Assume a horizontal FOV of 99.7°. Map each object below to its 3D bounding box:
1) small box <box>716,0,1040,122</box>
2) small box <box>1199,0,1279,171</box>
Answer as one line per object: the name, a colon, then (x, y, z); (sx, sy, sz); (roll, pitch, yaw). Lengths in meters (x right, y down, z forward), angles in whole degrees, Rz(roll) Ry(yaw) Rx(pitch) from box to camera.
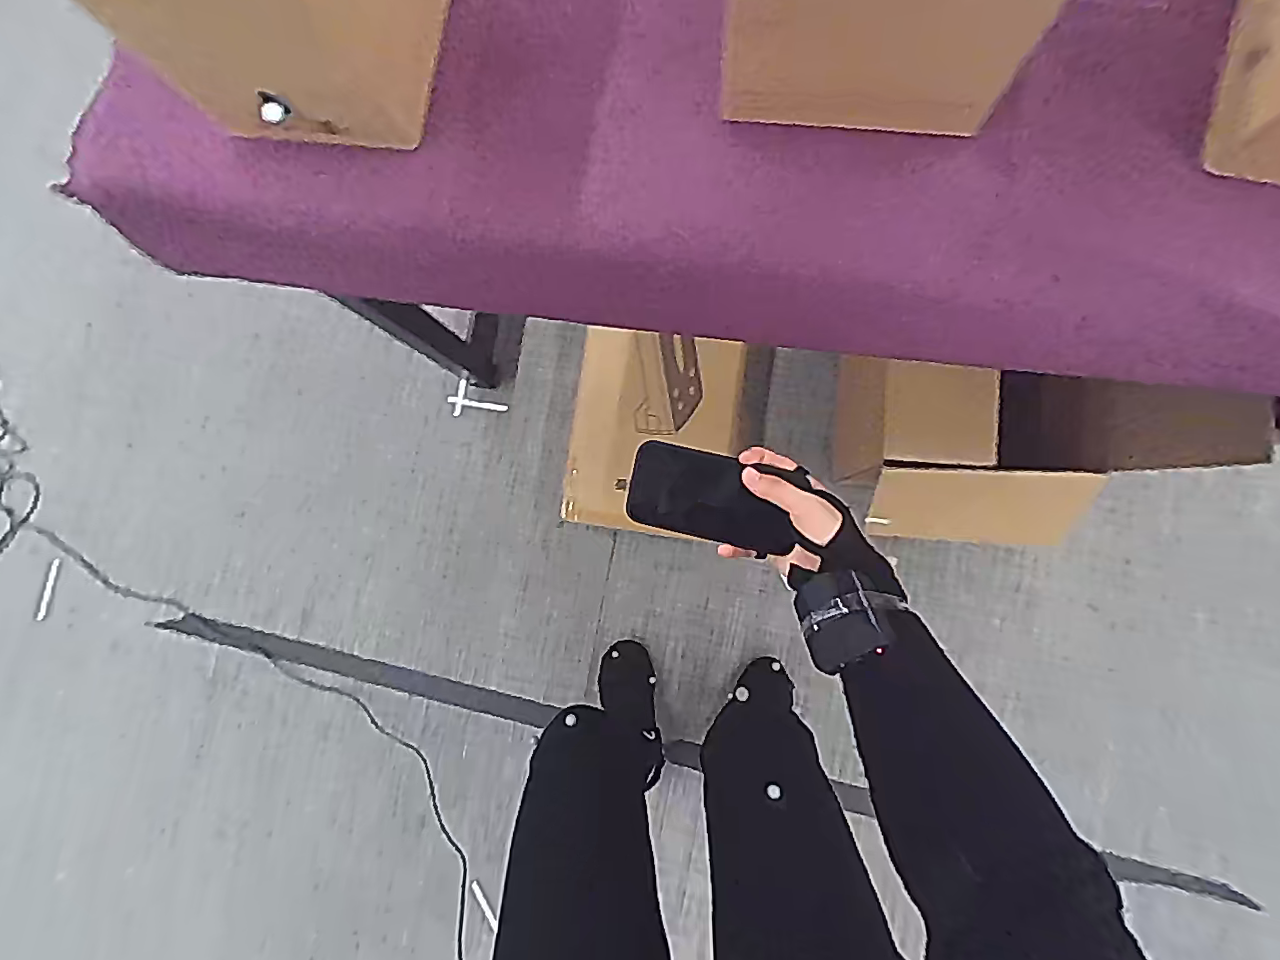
small box: (0.142, -0.340, 0.306); (0.179, 0.176, 0.168); (8, 83, 7)
small box: (0.451, -0.273, 0.268); (0.179, 0.176, 0.168); (15, 86, 7)
